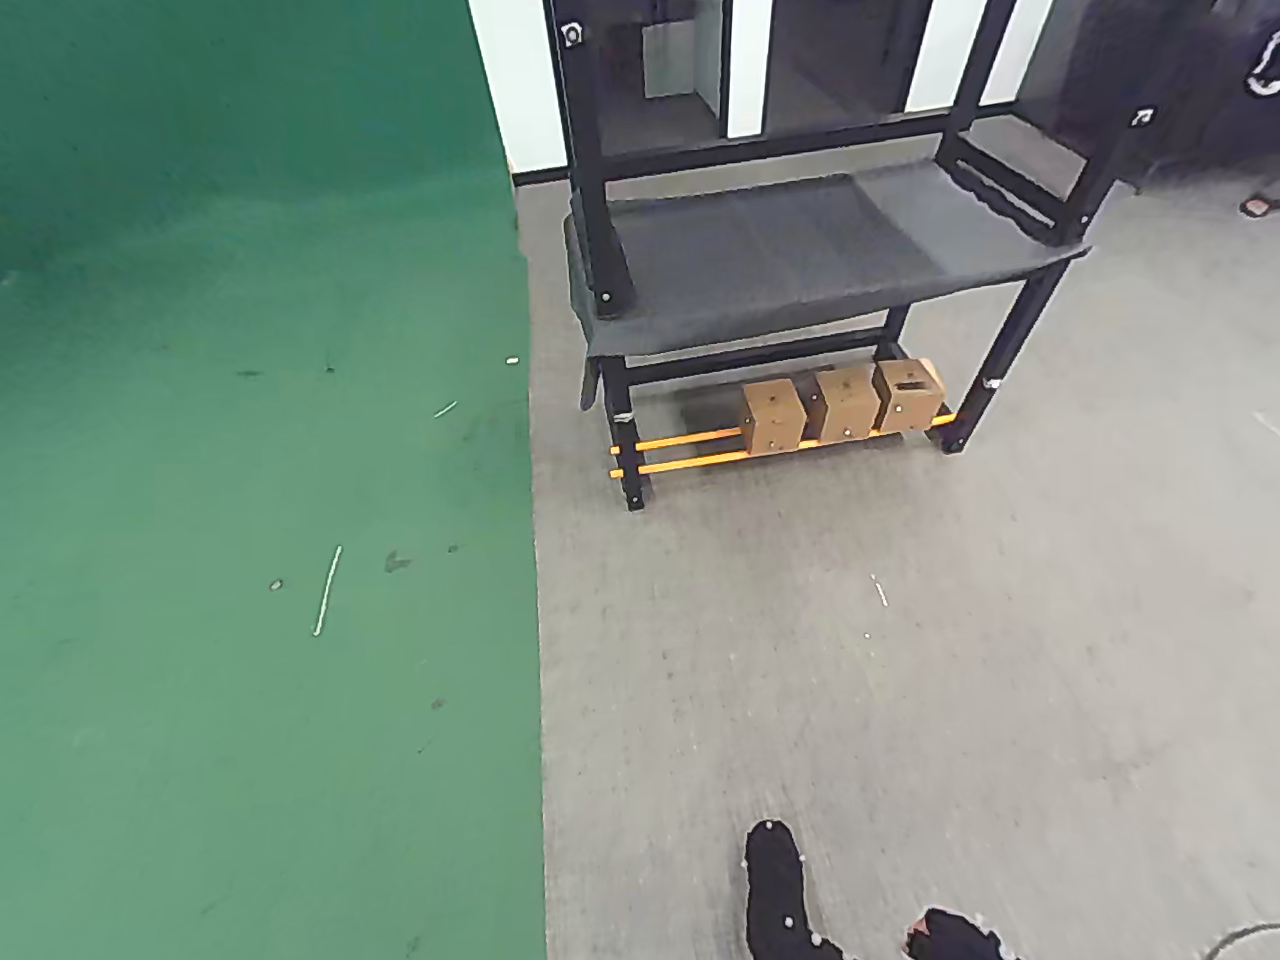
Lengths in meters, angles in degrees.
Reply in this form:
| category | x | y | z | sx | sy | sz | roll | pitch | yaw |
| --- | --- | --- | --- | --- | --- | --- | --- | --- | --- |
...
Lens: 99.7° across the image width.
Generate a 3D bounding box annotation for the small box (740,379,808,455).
| category | x | y | z | sx | sy | sz | roll | pitch | yaw |
| --- | --- | --- | --- | --- | --- | --- | --- | --- | --- |
| small box | 0.433 | -0.205 | 1.776 | 0.168 | 0.176 | 0.179 | -8 | 53 | -2 |
